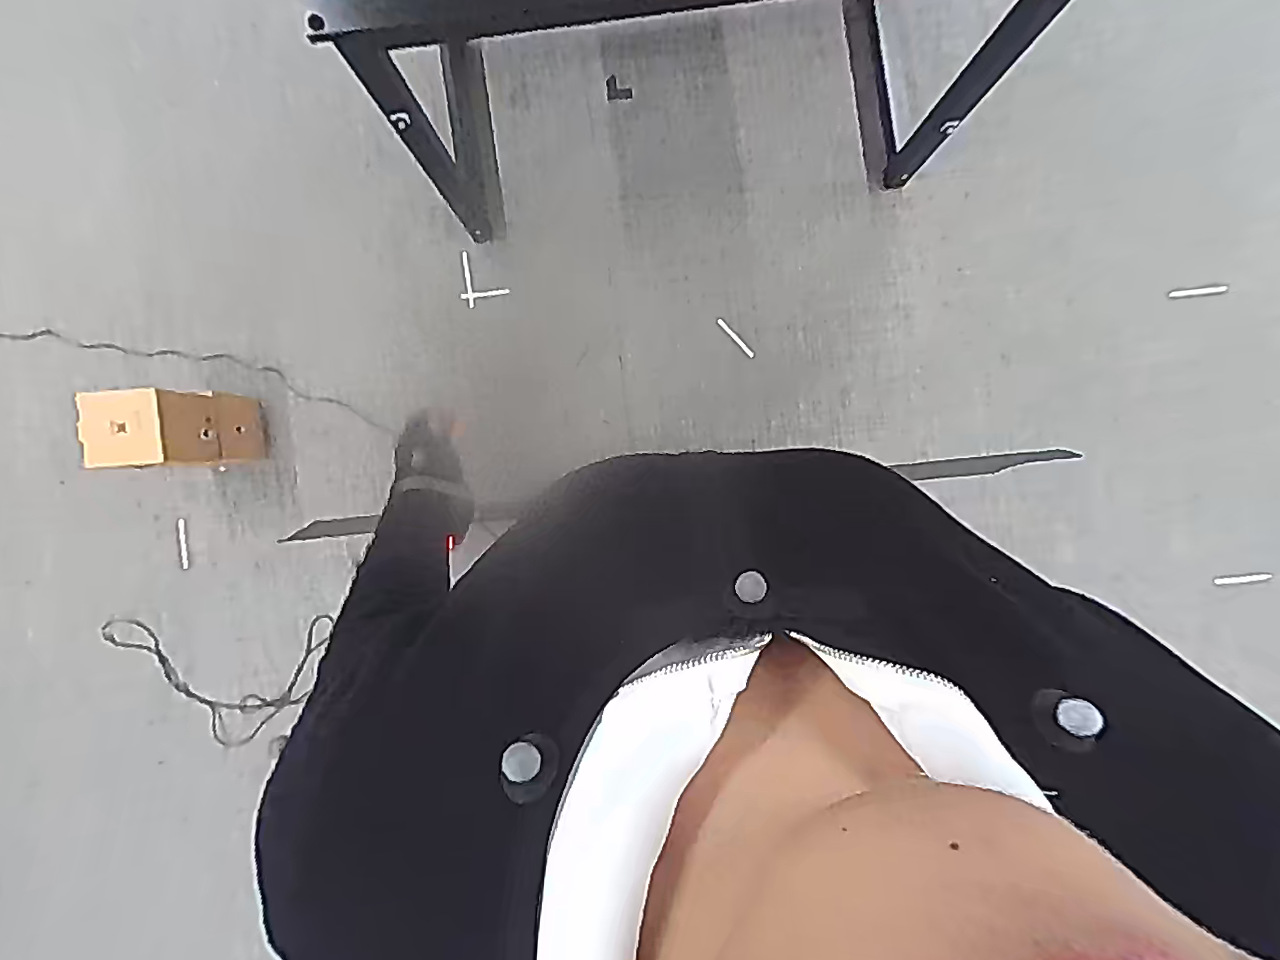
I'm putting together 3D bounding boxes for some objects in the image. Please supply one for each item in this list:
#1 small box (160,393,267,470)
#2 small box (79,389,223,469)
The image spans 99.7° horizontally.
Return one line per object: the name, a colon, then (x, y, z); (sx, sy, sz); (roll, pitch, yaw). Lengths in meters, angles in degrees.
small box: (-1.118, -0.122, 1.414); (0.168, 0.176, 0.179); (-8, 92, 0)
small box: (-1.122, -0.112, 1.251); (0.179, 0.176, 0.168); (-5, 93, -1)
